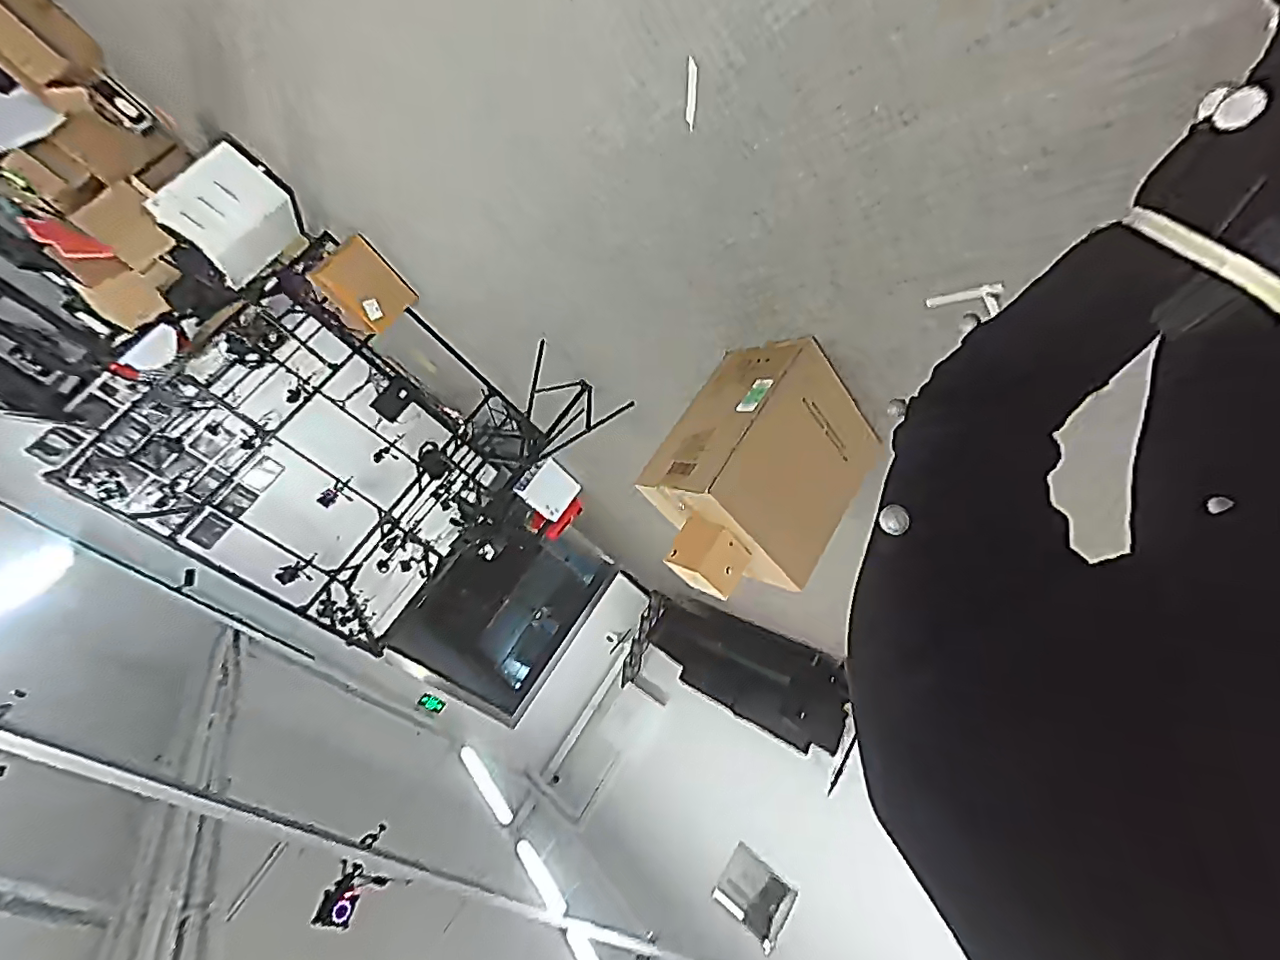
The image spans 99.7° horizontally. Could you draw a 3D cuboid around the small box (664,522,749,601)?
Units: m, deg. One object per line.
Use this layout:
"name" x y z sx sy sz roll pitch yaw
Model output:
"small box" 0.215 0.247 1.684 0.168 0.176 0.179 45 161 -30
